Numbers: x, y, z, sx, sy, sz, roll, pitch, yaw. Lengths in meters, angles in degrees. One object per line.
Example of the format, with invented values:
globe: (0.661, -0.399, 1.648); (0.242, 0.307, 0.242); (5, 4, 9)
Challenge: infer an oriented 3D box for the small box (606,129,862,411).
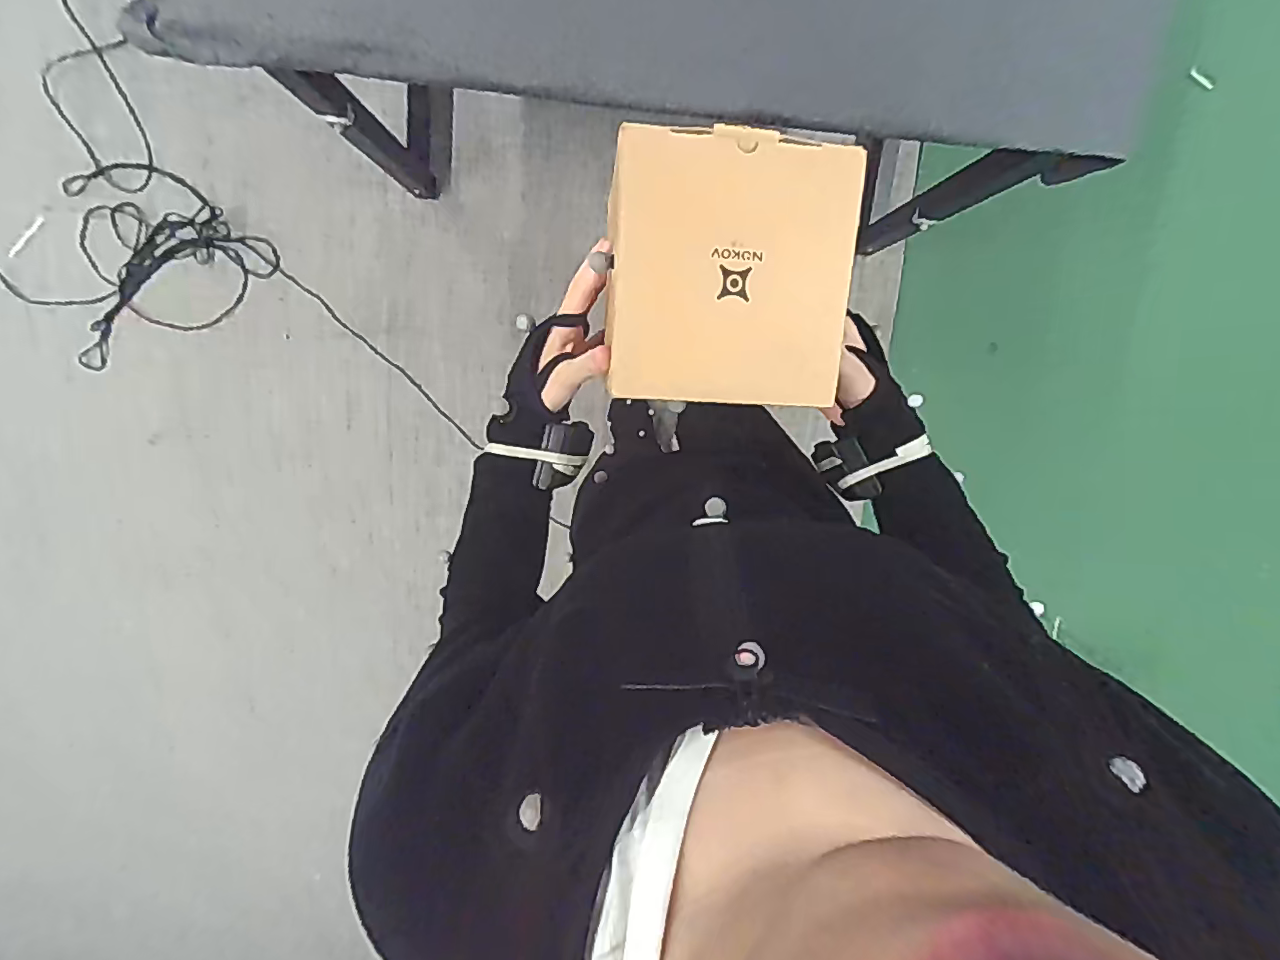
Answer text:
small box: (0.058, -0.156, 0.453); (0.168, 0.176, 0.179); (2, 101, -6)
